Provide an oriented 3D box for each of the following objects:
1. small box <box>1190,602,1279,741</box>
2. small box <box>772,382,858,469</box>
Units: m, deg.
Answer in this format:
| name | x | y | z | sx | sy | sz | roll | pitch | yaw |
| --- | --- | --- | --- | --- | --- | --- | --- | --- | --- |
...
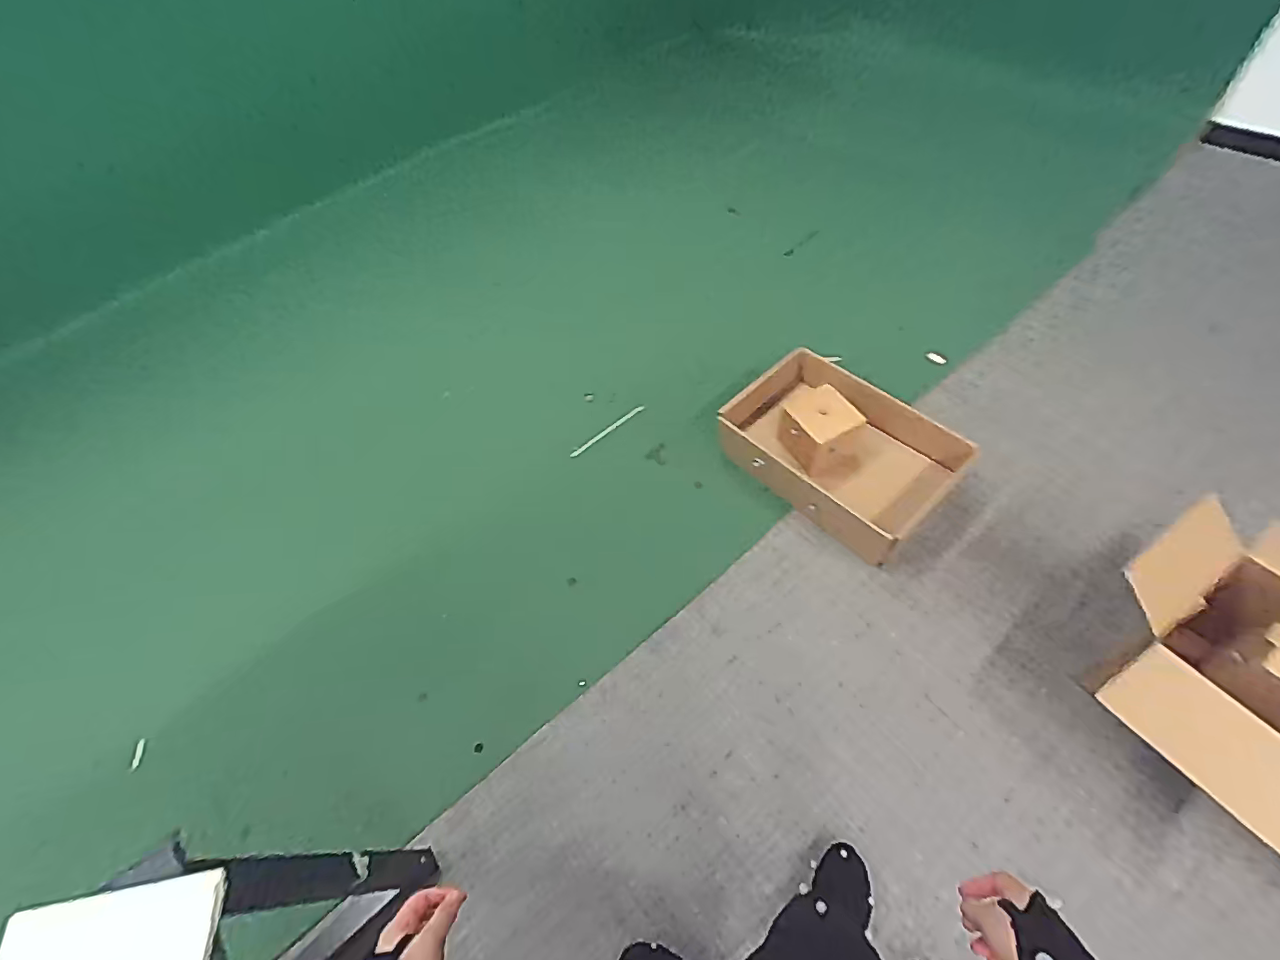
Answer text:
| name | x | y | z | sx | sy | sz | roll | pitch | yaw |
| --- | --- | --- | --- | --- | --- | --- | --- | --- | --- |
| small box | 1.216 | 0.364 | 1.016 | 0.168 | 0.176 | 0.179 | -37 | 59 | -14 |
| small box | 0.522 | -0.156 | 1.637 | 0.168 | 0.176 | 0.179 | -28 | 58 | -11 |
